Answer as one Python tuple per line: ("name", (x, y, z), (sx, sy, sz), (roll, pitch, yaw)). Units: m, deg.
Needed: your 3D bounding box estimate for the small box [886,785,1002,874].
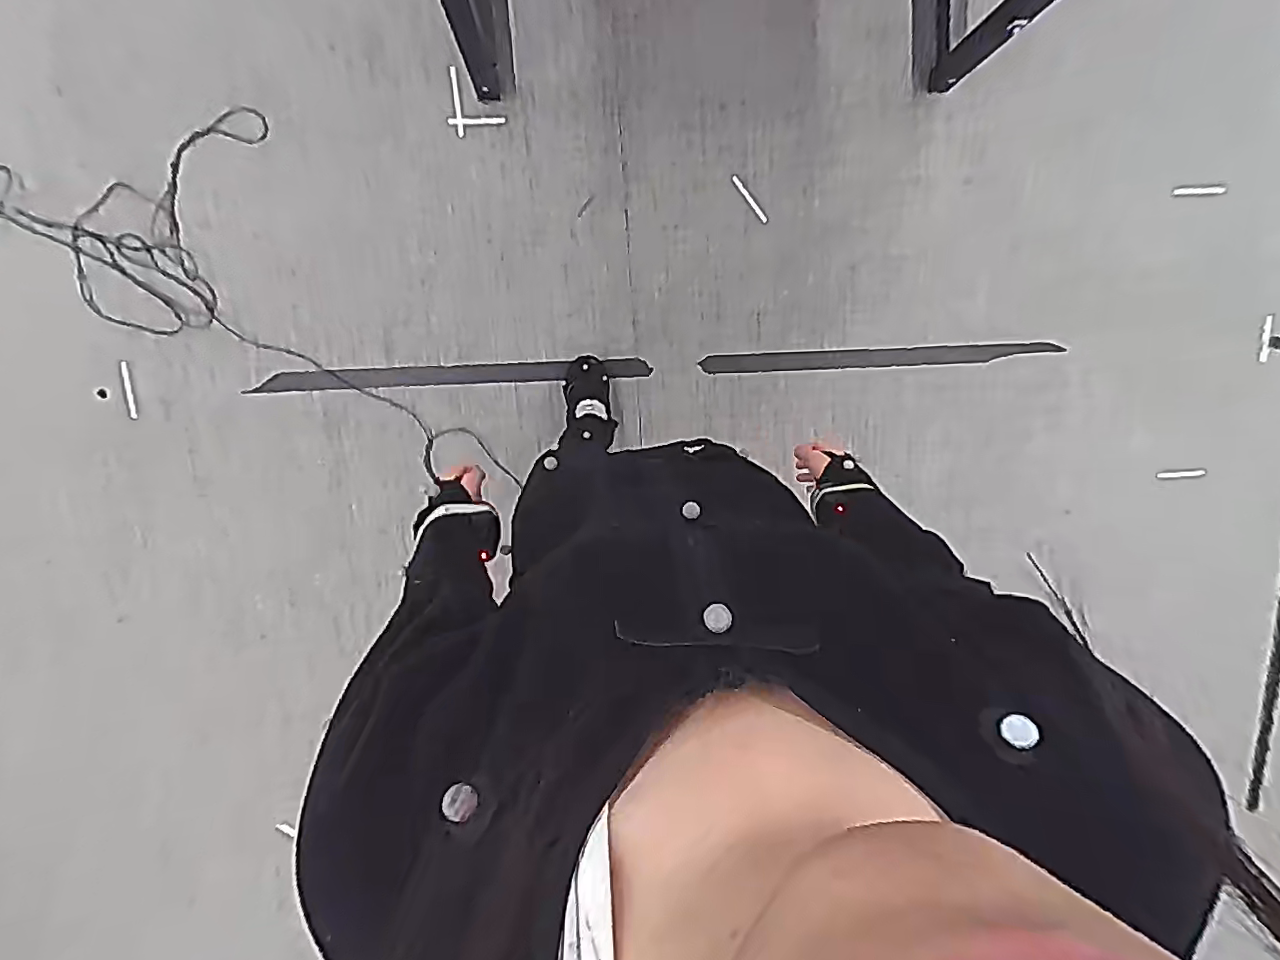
("small box", (0.808, 0.966, 1.457), (0.179, 0.176, 0.168), (38, 96, -11))
